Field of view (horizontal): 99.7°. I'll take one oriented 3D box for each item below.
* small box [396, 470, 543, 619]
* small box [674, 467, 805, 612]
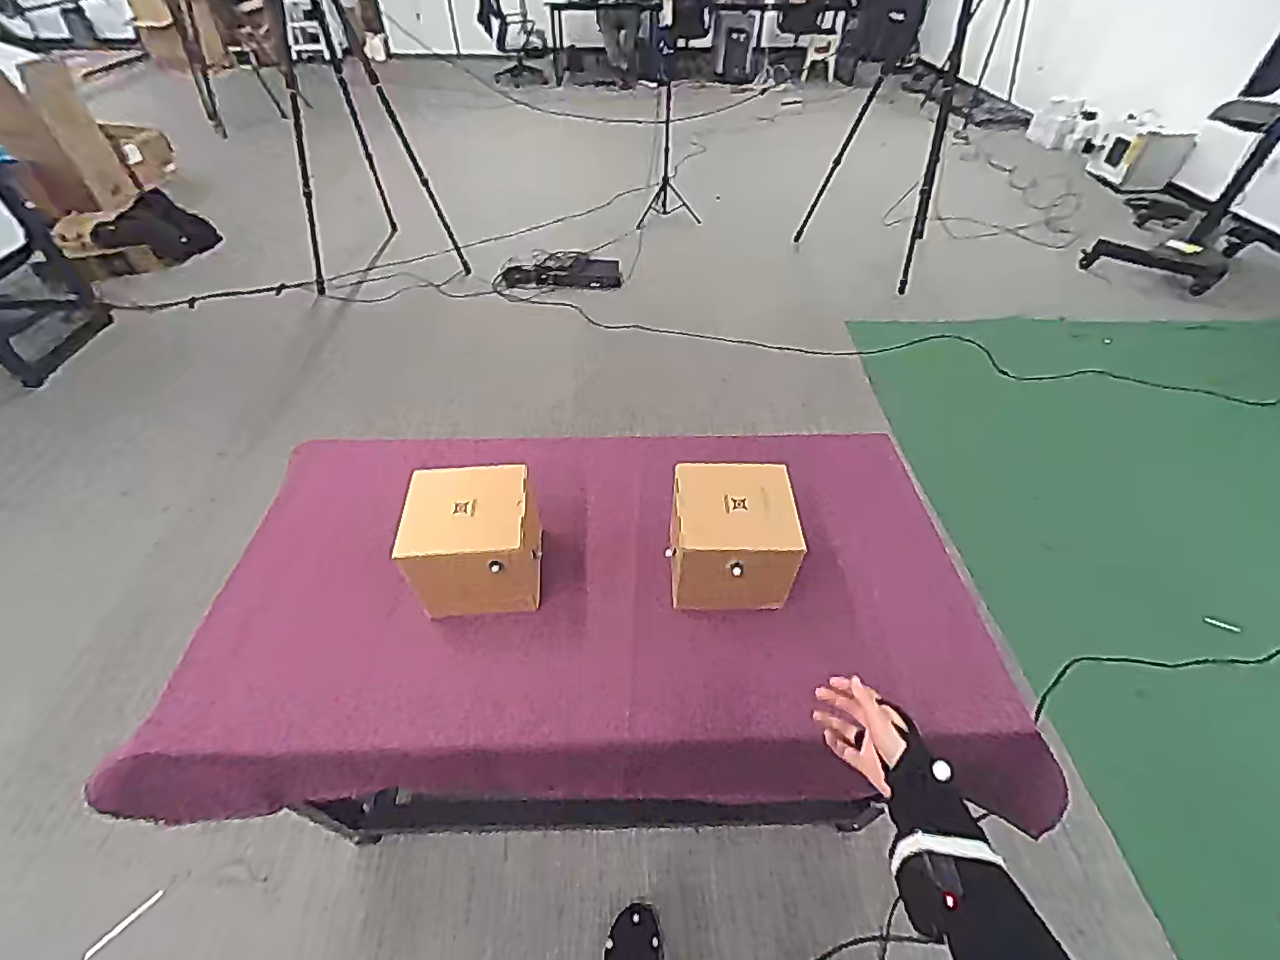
[{"bbox_3d":[-0.253,0.104,0.848,0.179,0.176,0.168,-4,46,-5],"label":"small box"},{"bbox_3d":[0.143,0.096,0.854,0.179,0.176,0.168,1,47,0],"label":"small box"}]
